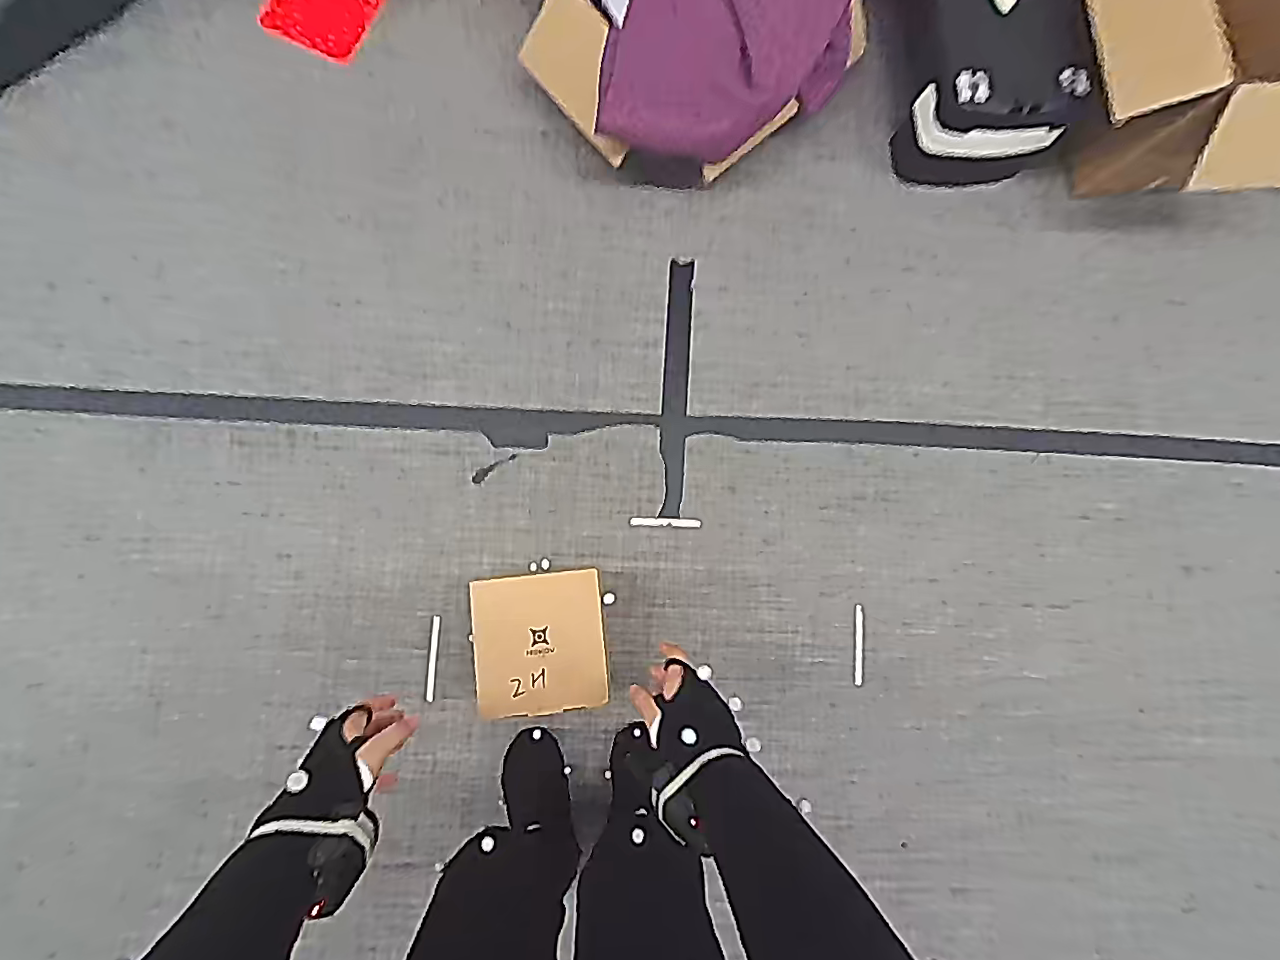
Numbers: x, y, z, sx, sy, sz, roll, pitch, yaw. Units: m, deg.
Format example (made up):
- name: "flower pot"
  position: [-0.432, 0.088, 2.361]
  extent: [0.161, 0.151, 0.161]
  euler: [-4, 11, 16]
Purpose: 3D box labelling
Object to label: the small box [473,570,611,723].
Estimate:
- name: "small box"
  position: [-0.131, 0.222, 0.767]
  extent: [0.168, 0.176, 0.179]
  euler: [-6, 84, -3]
